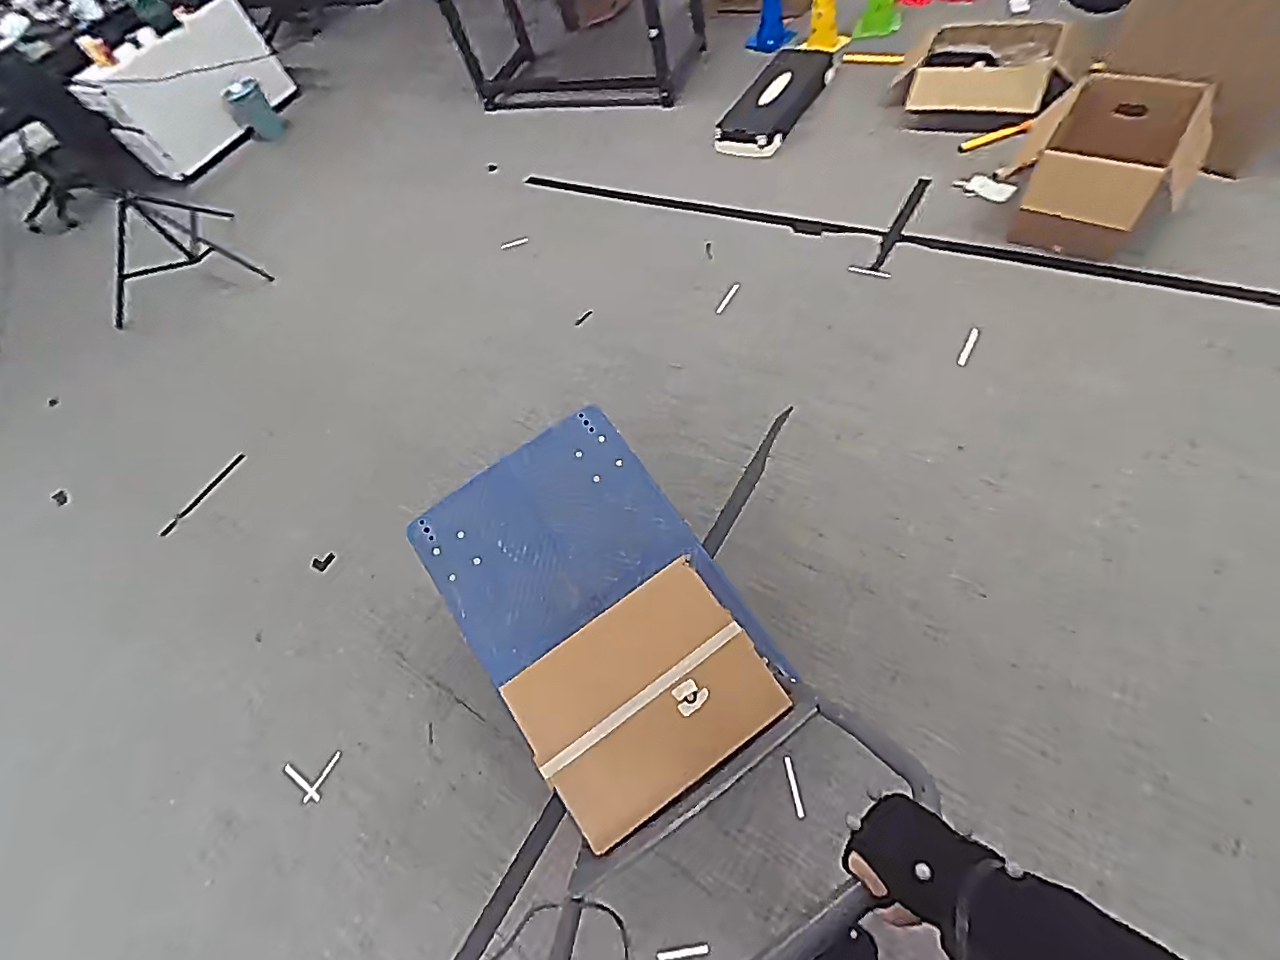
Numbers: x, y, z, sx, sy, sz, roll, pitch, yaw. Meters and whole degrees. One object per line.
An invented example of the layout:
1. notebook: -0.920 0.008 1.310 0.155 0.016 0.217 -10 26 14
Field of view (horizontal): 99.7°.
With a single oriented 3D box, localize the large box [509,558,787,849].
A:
1. large box: 0.017 0.419 1.087 0.408 0.320 0.320 -36 76 -8
